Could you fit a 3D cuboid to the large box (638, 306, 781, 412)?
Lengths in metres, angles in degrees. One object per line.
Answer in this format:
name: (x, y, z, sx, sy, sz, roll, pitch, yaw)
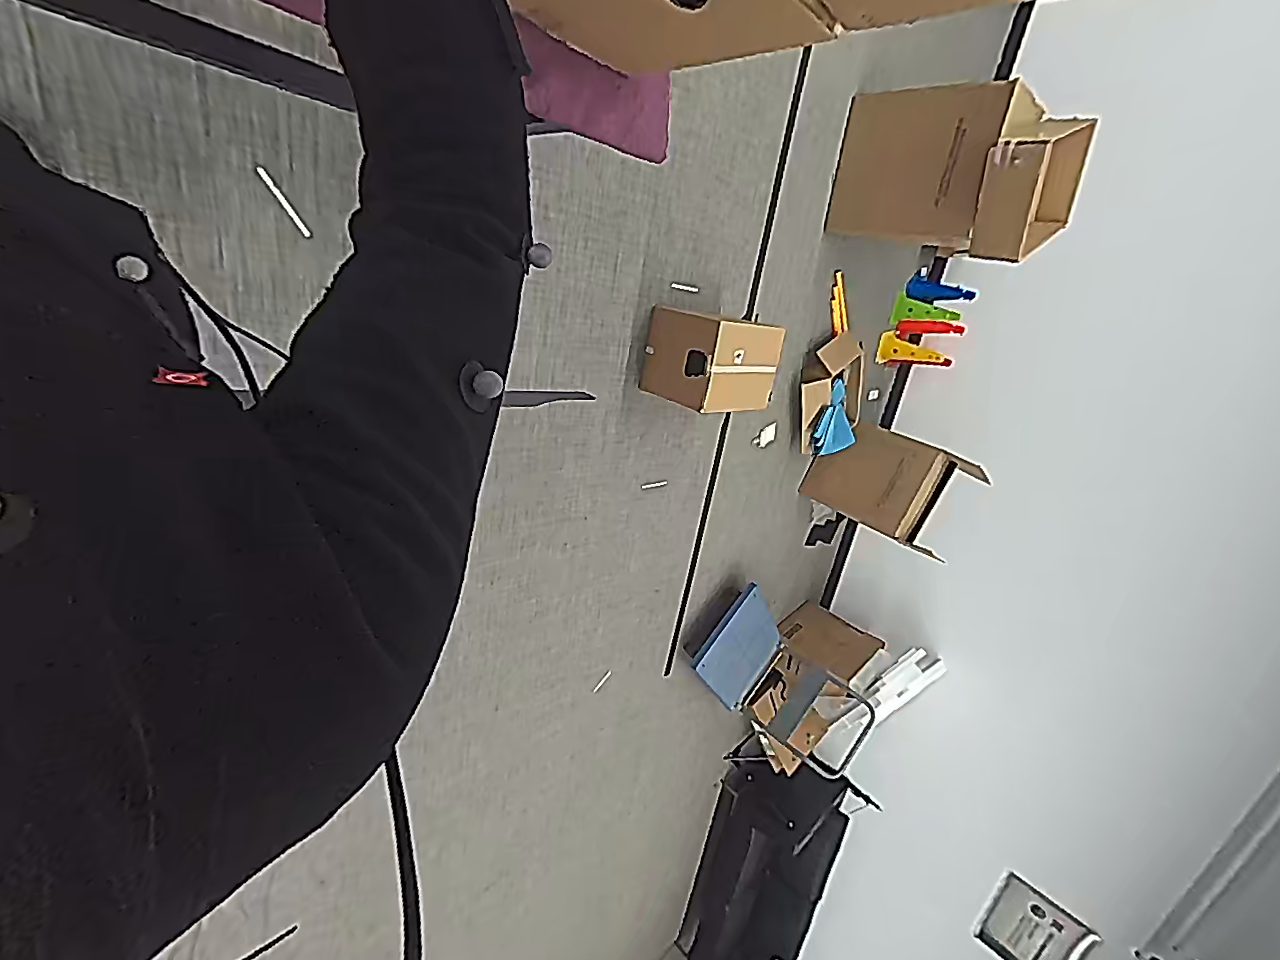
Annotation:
large box: (0.255, -0.455, 2.009, 0.408, 0.320, 0.320, -11, 118, -43)
